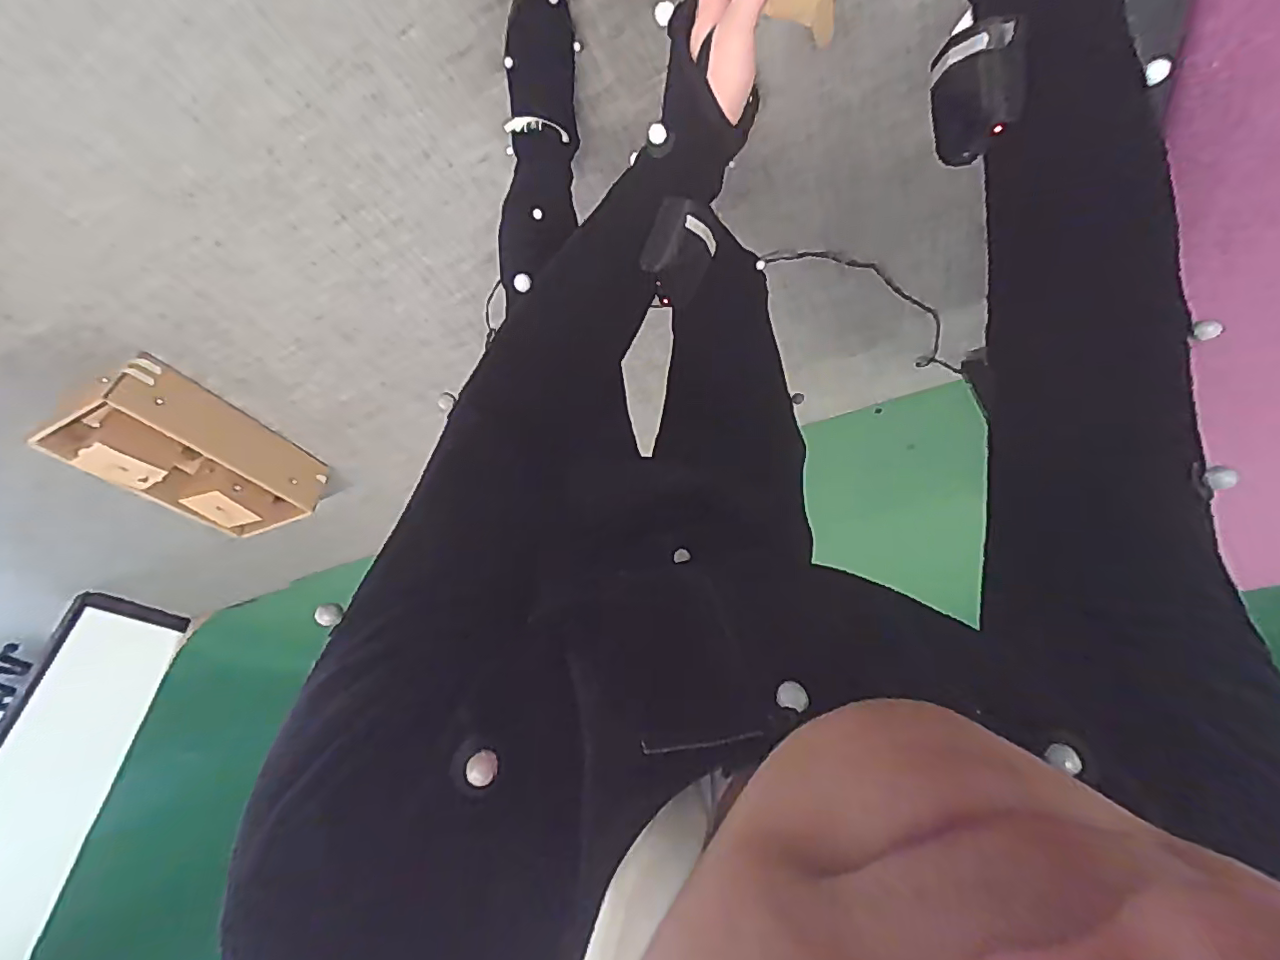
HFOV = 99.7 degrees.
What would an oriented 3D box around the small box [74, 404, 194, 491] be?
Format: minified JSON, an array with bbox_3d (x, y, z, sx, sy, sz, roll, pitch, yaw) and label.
[{"bbox_3d":[-1.475,-0.101,1.586,0.168,0.176,0.179,-20,140,24],"label":"small box"}]
